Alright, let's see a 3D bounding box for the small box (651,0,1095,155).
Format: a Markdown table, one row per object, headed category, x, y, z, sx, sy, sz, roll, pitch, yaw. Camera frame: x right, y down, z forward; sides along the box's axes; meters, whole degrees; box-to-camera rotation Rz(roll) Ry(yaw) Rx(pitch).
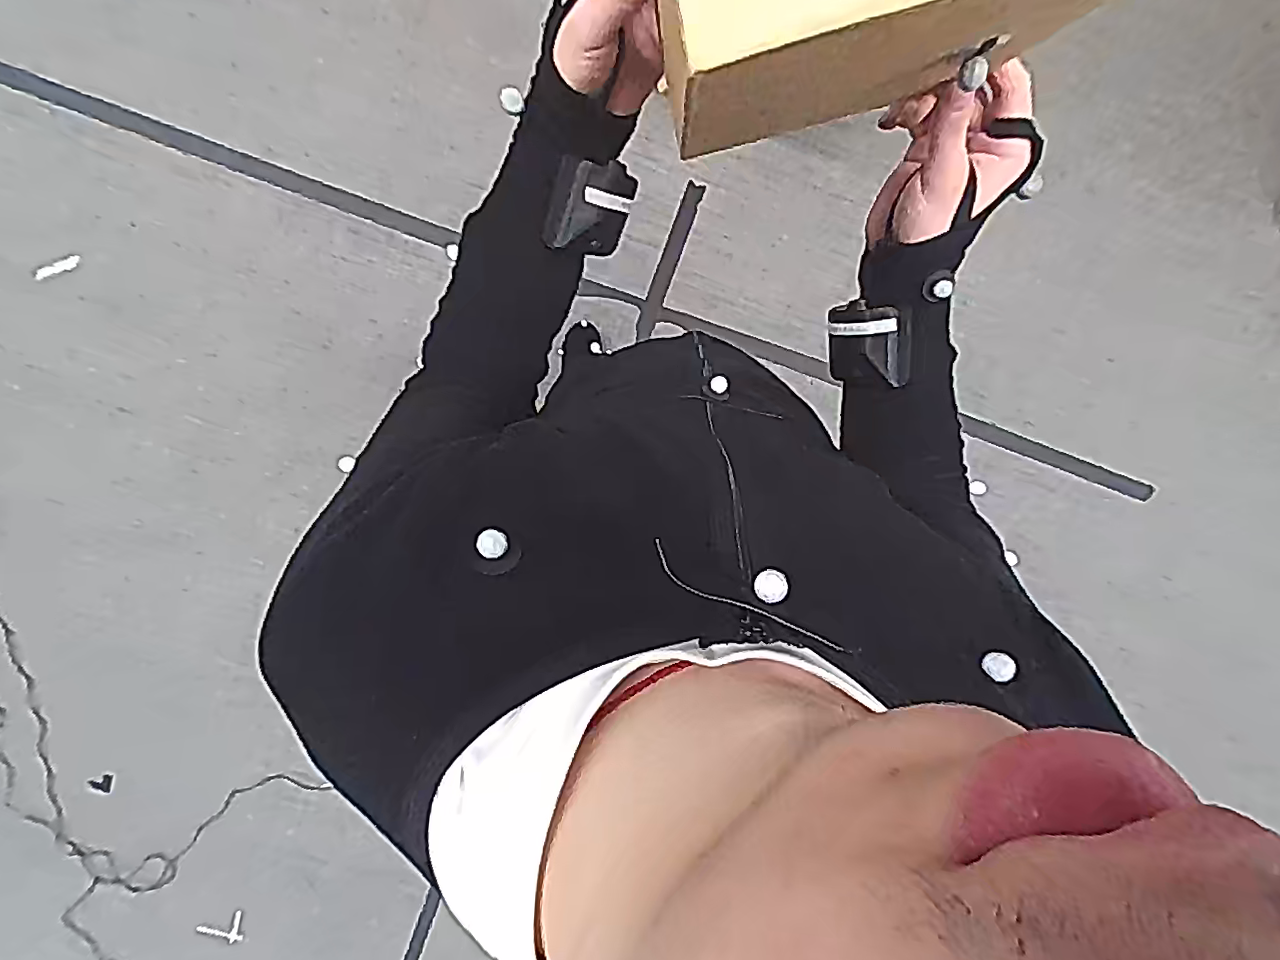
| category | x | y | z | sx | sy | sz | roll | pitch | yaw |
| --- | --- | --- | --- | --- | --- | --- | --- | --- | --- |
| small box | 0.089 | -0.265 | 0.234 | 0.179 | 0.176 | 0.168 | -11 | 110 | 8 |
